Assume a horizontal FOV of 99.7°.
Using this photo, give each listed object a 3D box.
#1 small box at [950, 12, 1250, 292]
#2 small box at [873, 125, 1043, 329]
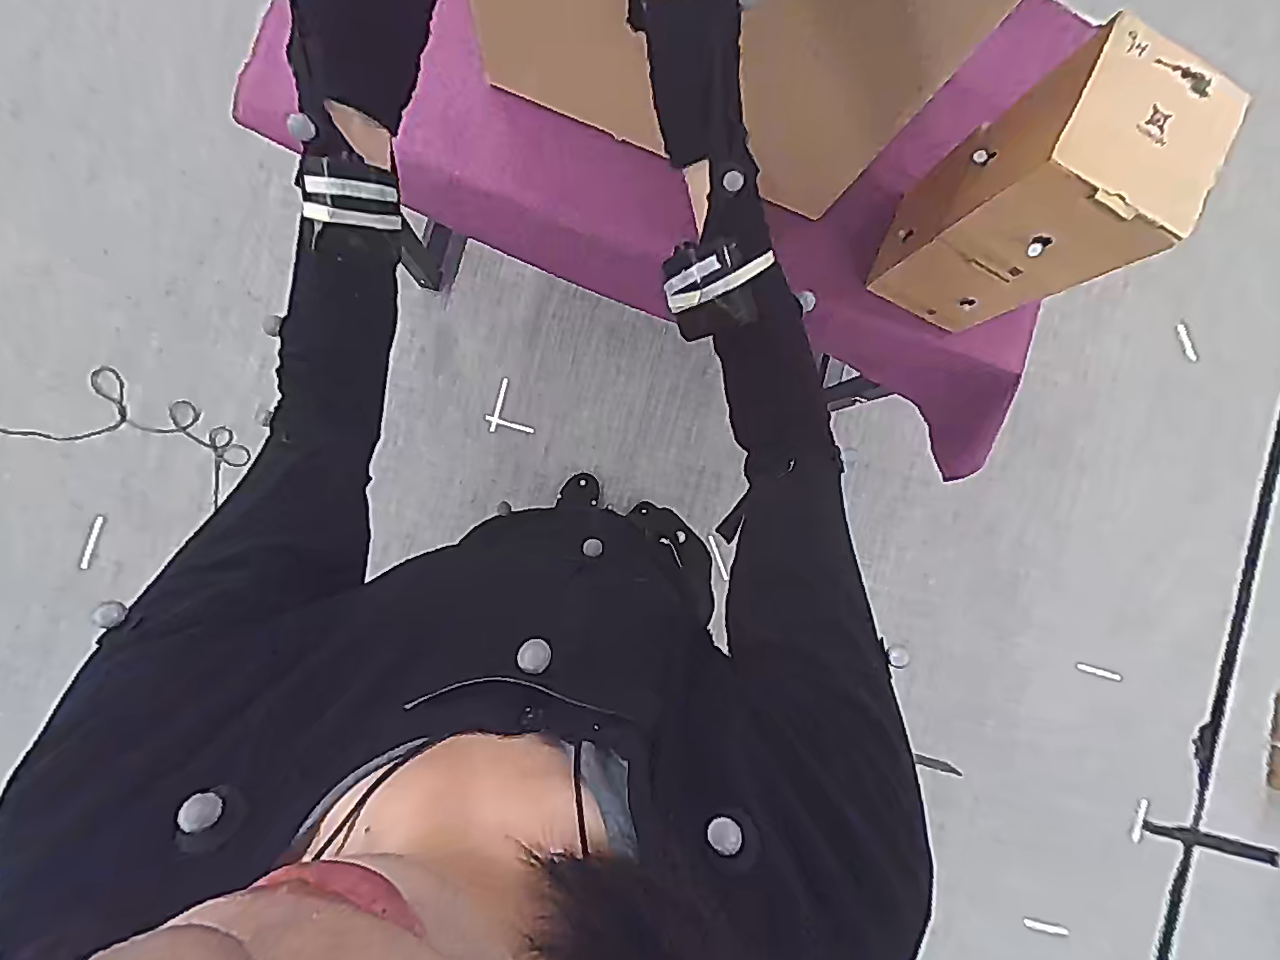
[{"bbox_3d":[0.494,-0.344,0.610,0.168,0.176,0.179,28,87,-6],"label":"small box"},{"bbox_3d":[0.466,-0.343,0.772,0.168,0.176,0.179,24,85,-6],"label":"small box"}]
